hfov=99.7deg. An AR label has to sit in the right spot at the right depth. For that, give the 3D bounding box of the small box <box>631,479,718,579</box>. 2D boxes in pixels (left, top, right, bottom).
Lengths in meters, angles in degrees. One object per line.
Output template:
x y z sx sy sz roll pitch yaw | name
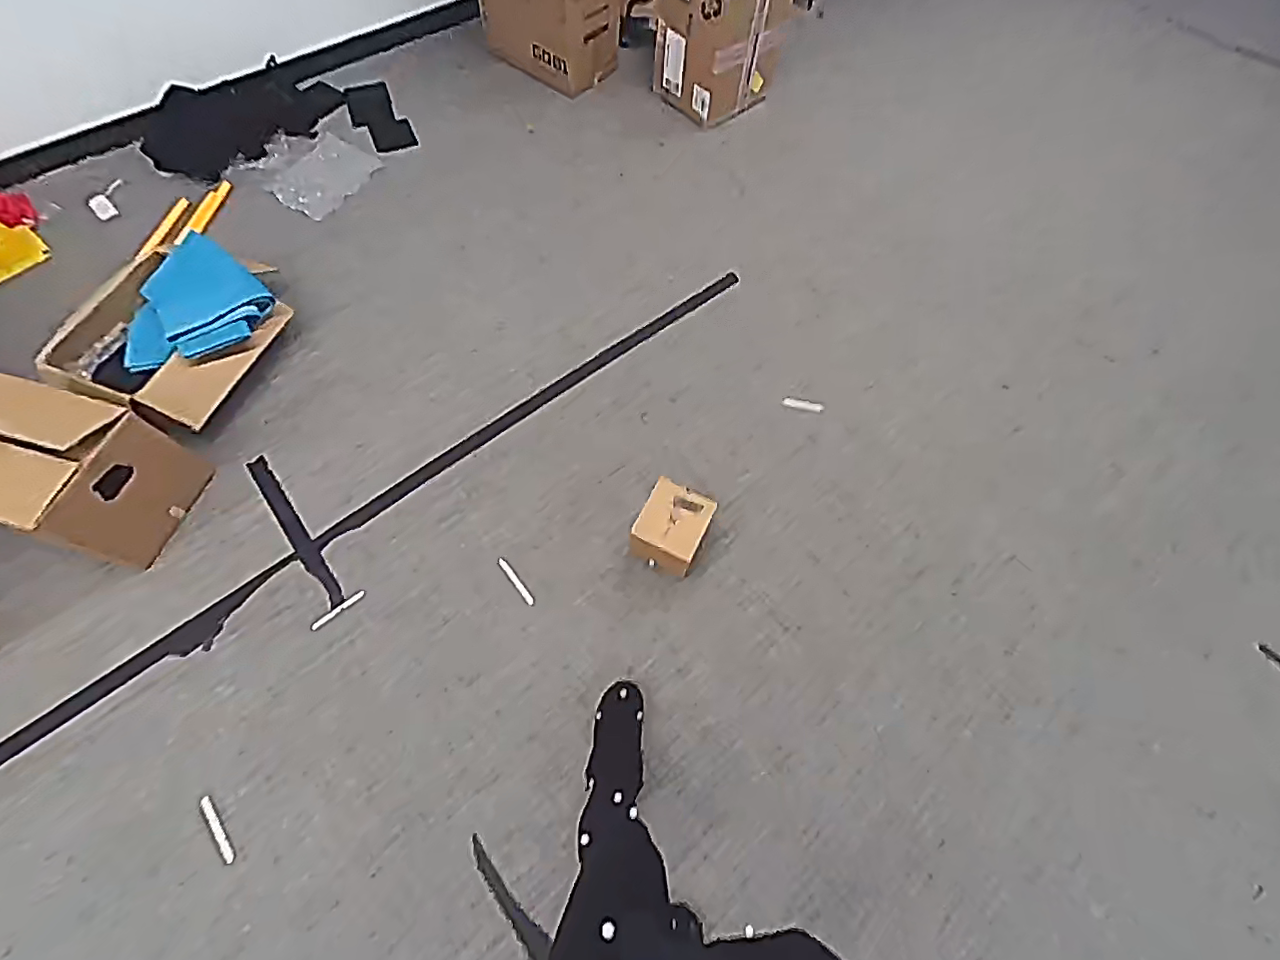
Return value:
0.083 0.133 1.413 0.168 0.176 0.179 26 67 10 | small box
